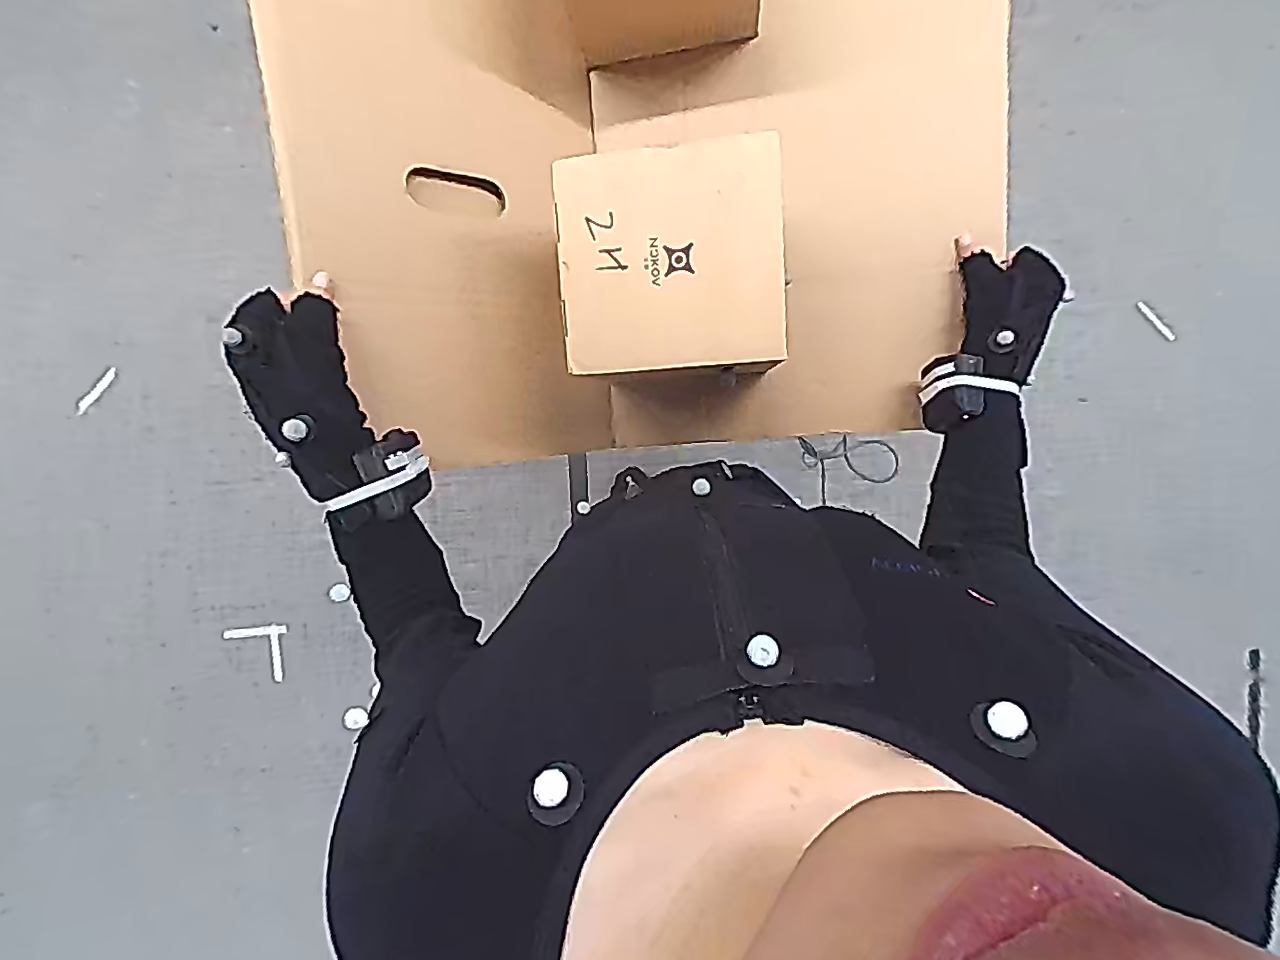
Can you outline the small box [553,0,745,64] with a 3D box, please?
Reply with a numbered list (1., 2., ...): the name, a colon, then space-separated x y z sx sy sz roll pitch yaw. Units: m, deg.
1. small box: 0.000 -0.500 0.461 0.179 0.176 0.168 -5 98 8
